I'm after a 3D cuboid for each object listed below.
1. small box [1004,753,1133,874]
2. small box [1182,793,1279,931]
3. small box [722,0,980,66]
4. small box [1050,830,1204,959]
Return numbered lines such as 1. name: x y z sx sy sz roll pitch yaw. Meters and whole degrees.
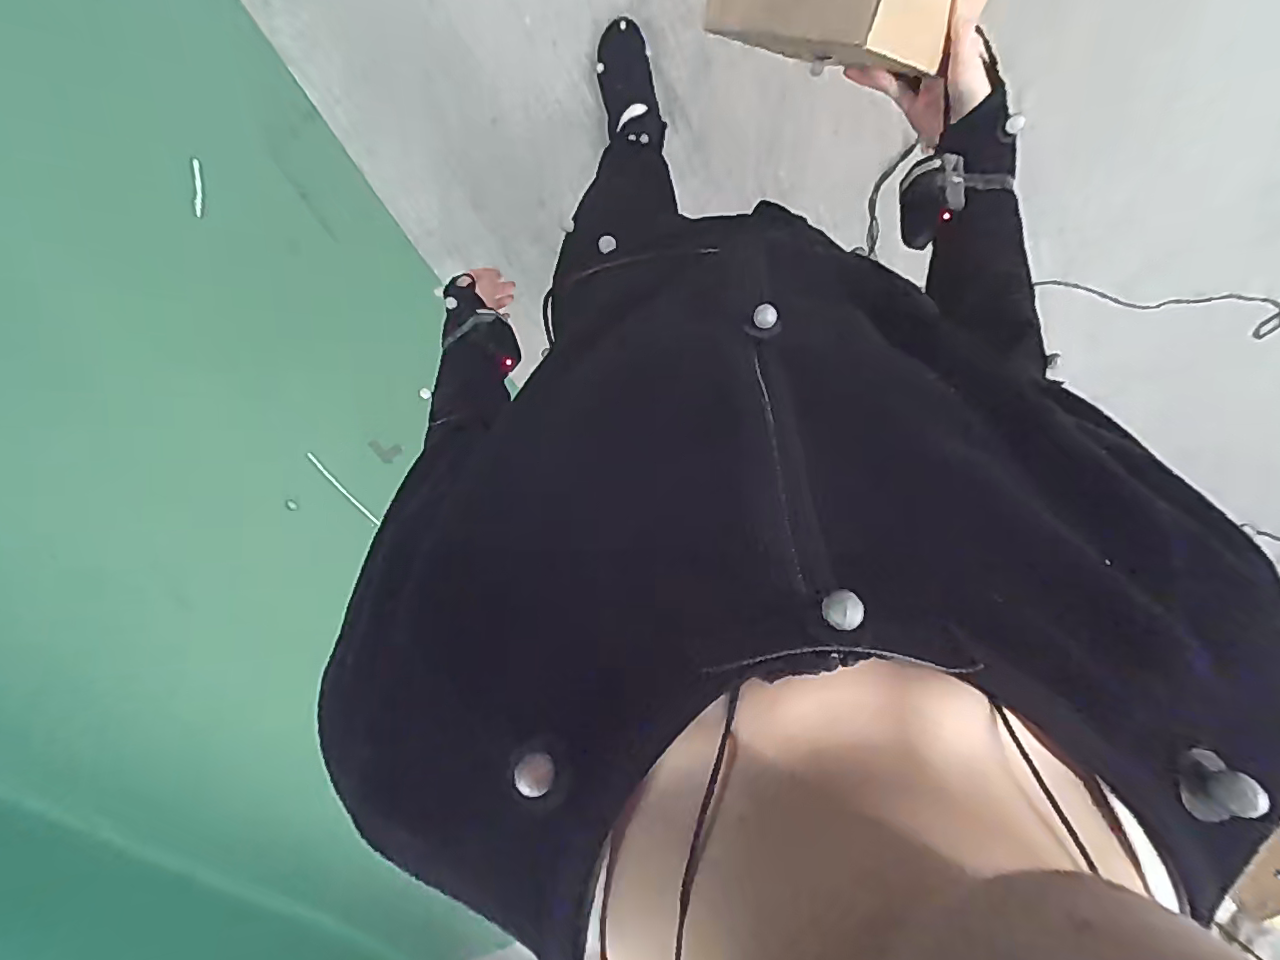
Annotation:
1. small box: 0.973 0.763 1.241 0.168 0.176 0.179 -23 122 11
2. small box: 1.228 0.733 1.036 0.168 0.176 0.179 22 121 -16
3. small box: 0.179 -0.459 0.428 0.168 0.176 0.179 -21 136 -38
4. small box: 0.973 0.839 1.097 0.168 0.176 0.179 -24 123 11
